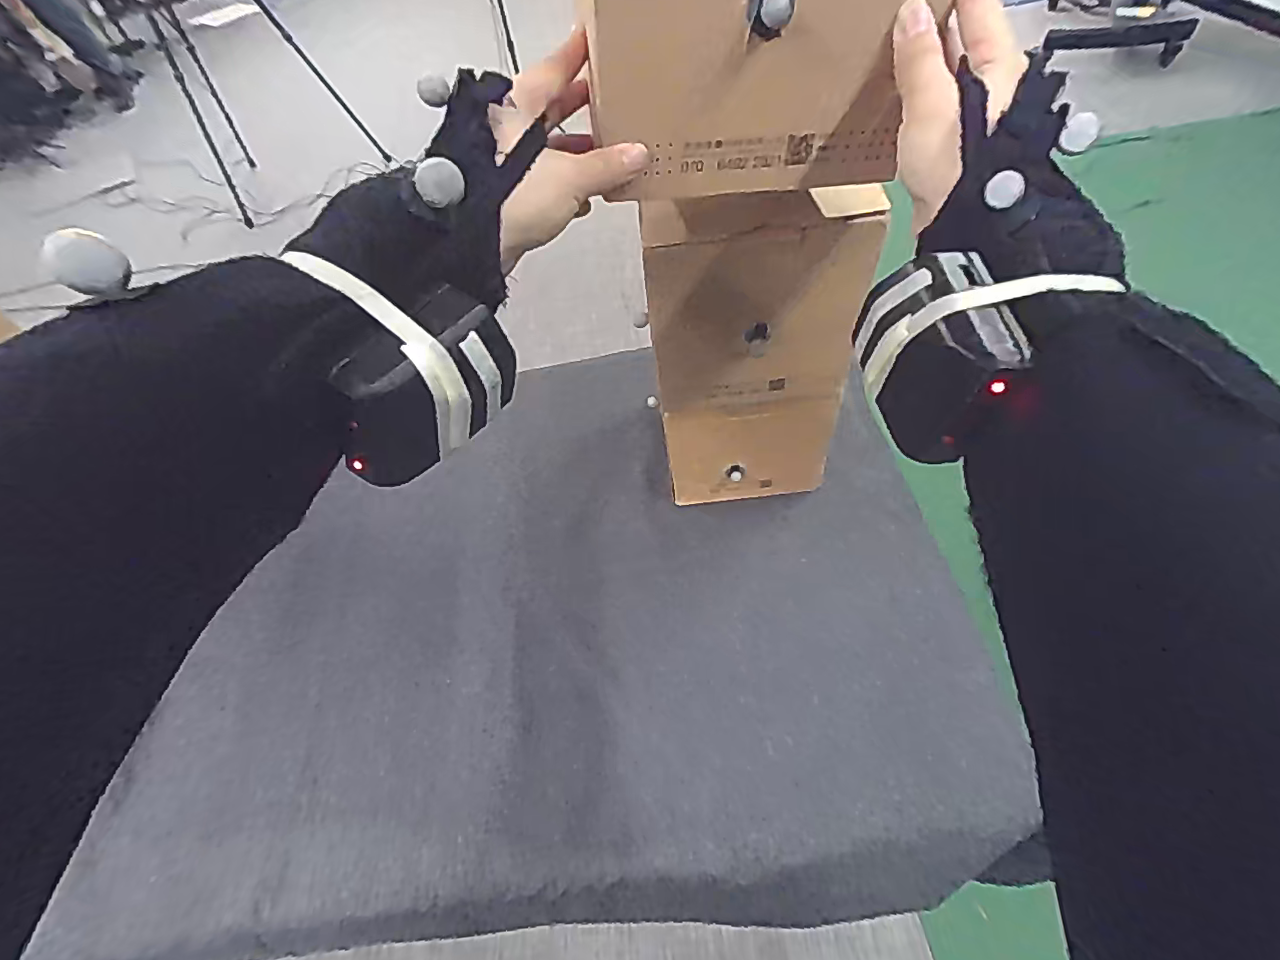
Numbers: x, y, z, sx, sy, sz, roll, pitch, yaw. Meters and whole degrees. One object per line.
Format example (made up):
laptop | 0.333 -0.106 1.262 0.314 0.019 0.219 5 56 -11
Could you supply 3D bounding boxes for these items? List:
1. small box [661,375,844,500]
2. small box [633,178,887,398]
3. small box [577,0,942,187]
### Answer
small box | 0.107 -0.099 0.604 0.168 0.176 0.179 -7 56 3
small box | 0.086 -0.185 0.466 0.168 0.176 0.179 -6 57 3
small box | 0.051 -0.273 0.286 0.168 0.176 0.179 -6 52 -6
